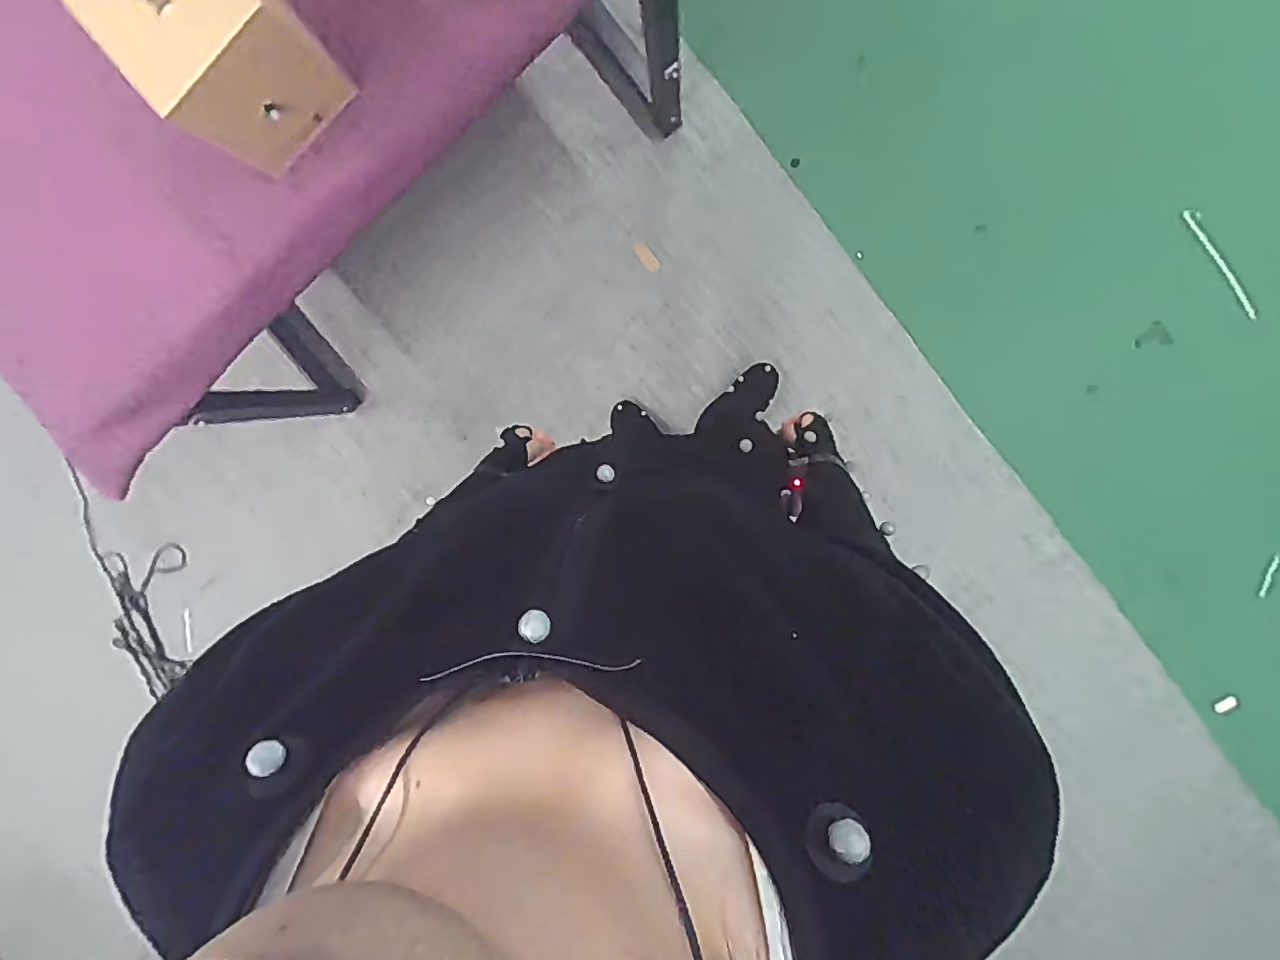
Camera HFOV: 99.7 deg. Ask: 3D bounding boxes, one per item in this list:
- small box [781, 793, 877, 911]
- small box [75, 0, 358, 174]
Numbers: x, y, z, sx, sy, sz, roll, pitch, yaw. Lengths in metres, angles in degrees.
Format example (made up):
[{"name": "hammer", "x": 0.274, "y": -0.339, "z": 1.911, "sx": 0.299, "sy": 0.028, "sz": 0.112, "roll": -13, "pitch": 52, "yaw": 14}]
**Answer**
[{"name": "small box", "x": 0.515, "y": 1.026, "z": 1.507, "sx": 0.168, "sy": 0.176, "sz": 0.179, "roll": 42, "pitch": 101, "yaw": -1}, {"name": "small box", "x": -0.491, "y": -0.510, "z": 0.656, "sx": 0.168, "sy": 0.176, "sz": 0.179, "roll": -39, "pitch": 93, "yaw": 10}]
